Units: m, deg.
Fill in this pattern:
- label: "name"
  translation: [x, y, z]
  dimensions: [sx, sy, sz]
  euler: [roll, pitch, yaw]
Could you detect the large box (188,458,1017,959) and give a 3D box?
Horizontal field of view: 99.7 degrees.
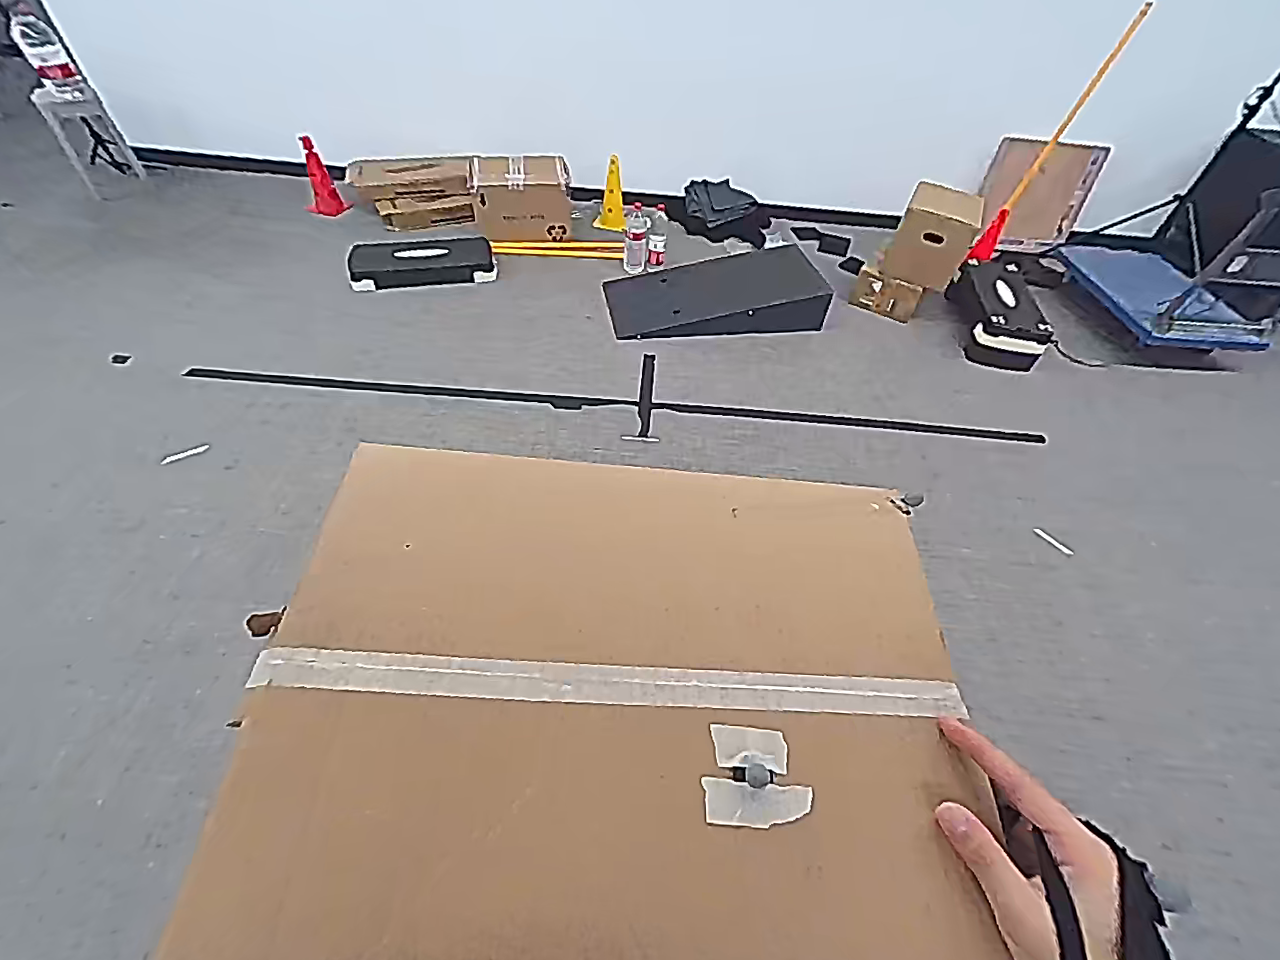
- label: "large box"
  translation: [-0.023, 0.207, 0.450]
  dimensions: [0.408, 0.320, 0.320]
  euler: [5, 57, -5]
